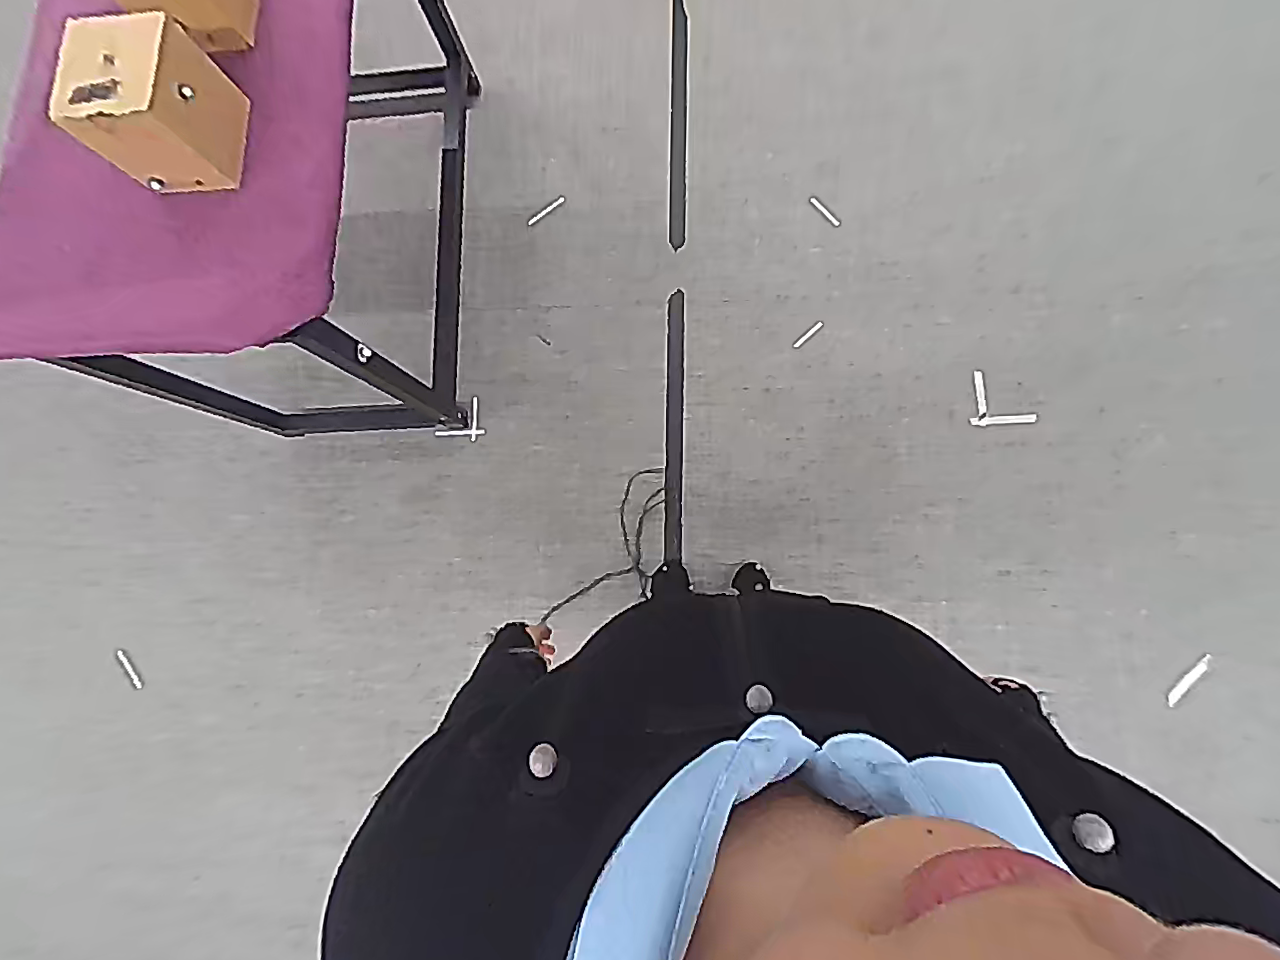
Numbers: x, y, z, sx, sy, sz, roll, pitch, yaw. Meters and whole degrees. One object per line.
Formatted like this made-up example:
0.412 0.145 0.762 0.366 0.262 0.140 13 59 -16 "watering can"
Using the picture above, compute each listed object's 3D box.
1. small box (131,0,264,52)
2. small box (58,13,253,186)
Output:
-0.792 -0.894 0.939 0.168 0.176 0.179 0 82 5 "small box"
-0.784 -0.612 0.895 0.168 0.176 0.179 -1 81 4 "small box"
